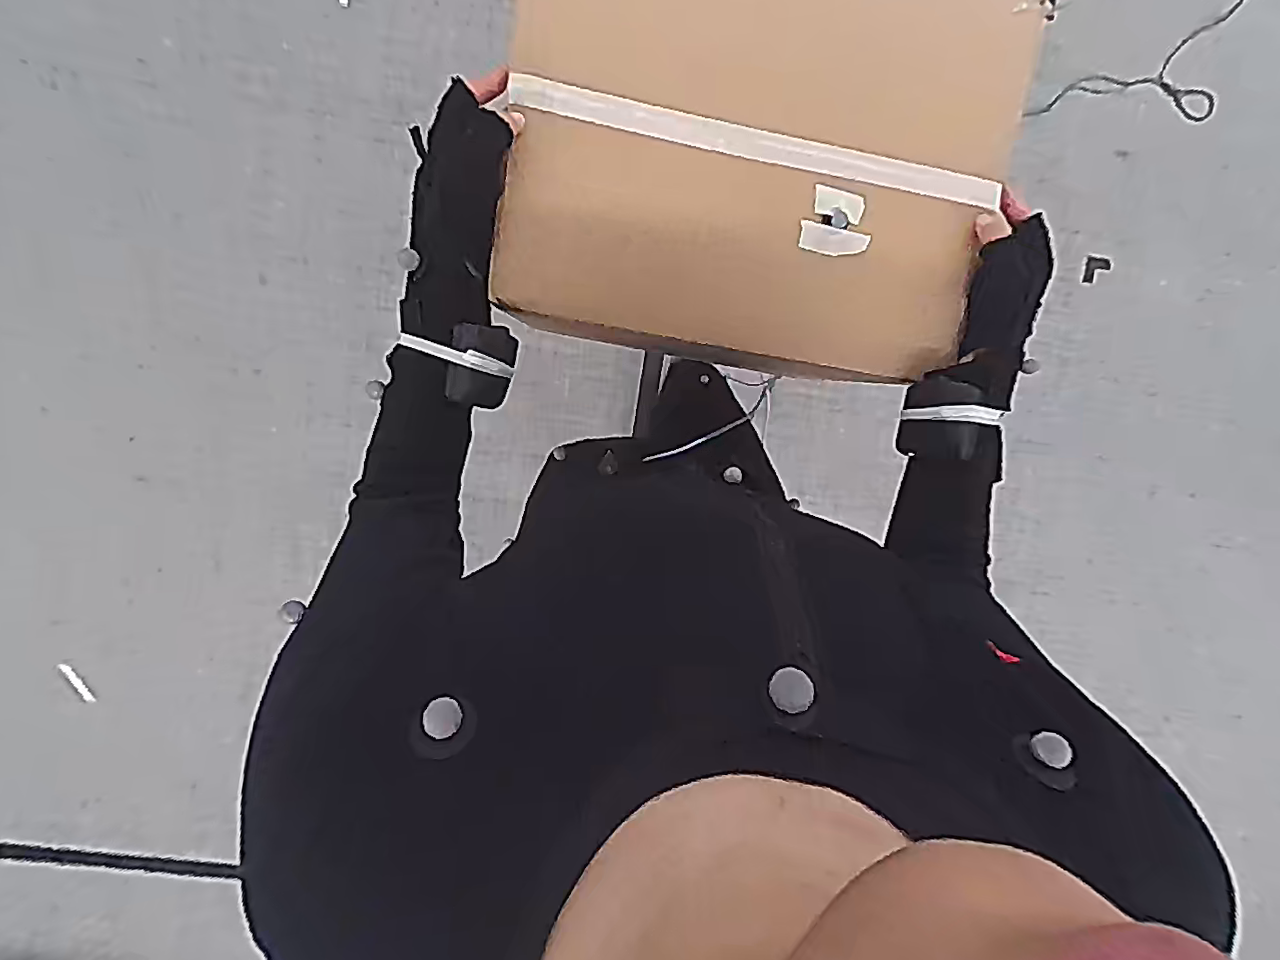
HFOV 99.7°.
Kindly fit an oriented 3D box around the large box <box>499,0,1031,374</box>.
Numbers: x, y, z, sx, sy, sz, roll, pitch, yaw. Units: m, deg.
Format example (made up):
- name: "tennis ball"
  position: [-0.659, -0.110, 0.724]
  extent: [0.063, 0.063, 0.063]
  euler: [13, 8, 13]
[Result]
- name: "large box"
  position: [0.084, -0.302, 0.585]
  extent: [0.408, 0.320, 0.320]
  euler: [9, 102, -8]
